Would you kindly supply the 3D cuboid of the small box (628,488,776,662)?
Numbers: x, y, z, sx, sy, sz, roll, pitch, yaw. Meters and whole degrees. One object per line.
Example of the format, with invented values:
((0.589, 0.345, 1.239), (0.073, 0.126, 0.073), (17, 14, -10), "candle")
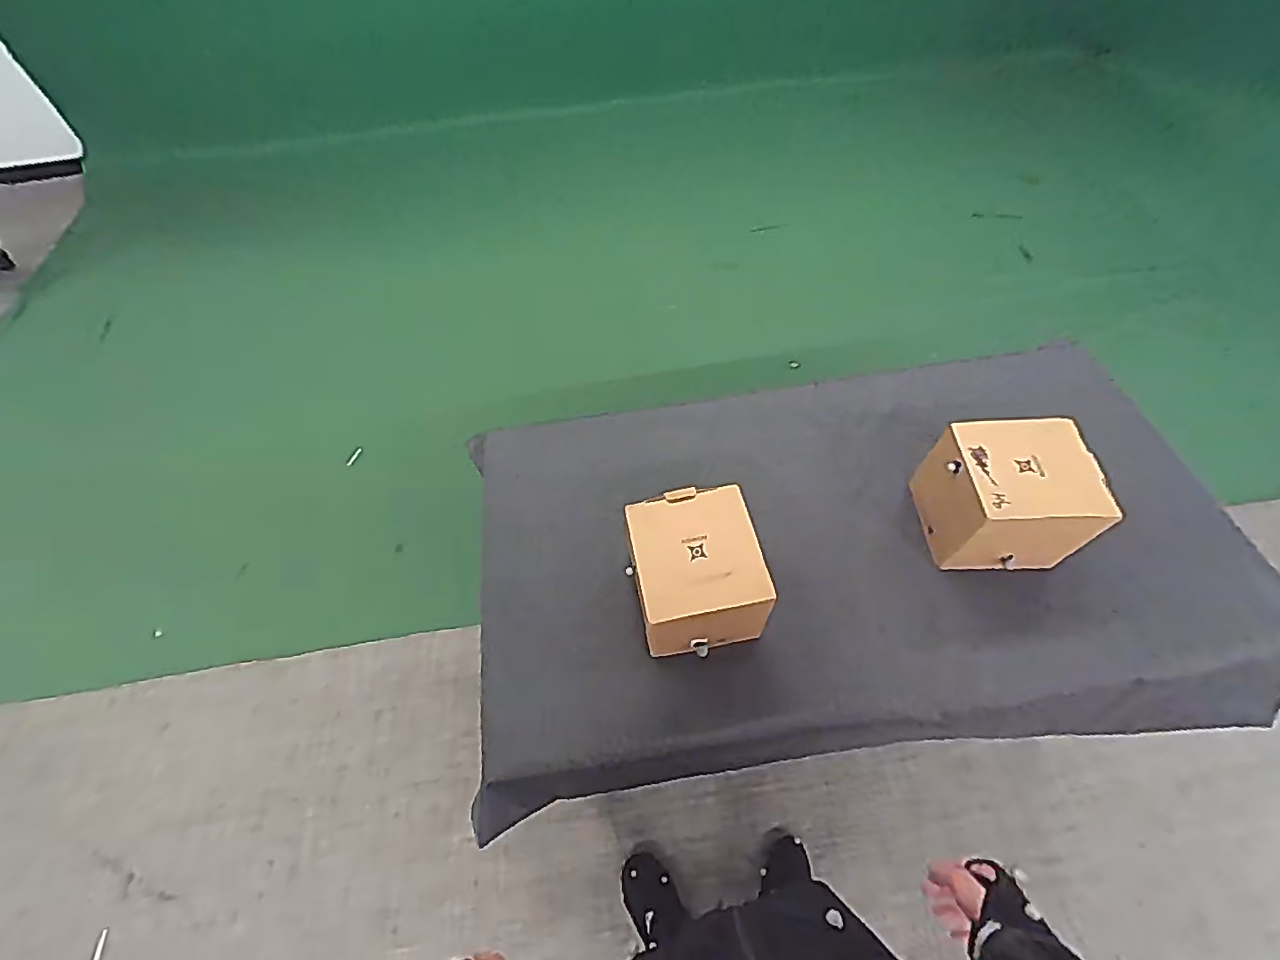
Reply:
((0.079, 0.137, 0.765), (0.168, 0.176, 0.179), (-10, 57, -1), "small box")

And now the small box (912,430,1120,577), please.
((0.549, 0.041, 0.820), (0.179, 0.176, 0.168), (-1, 57, 2), "small box")
